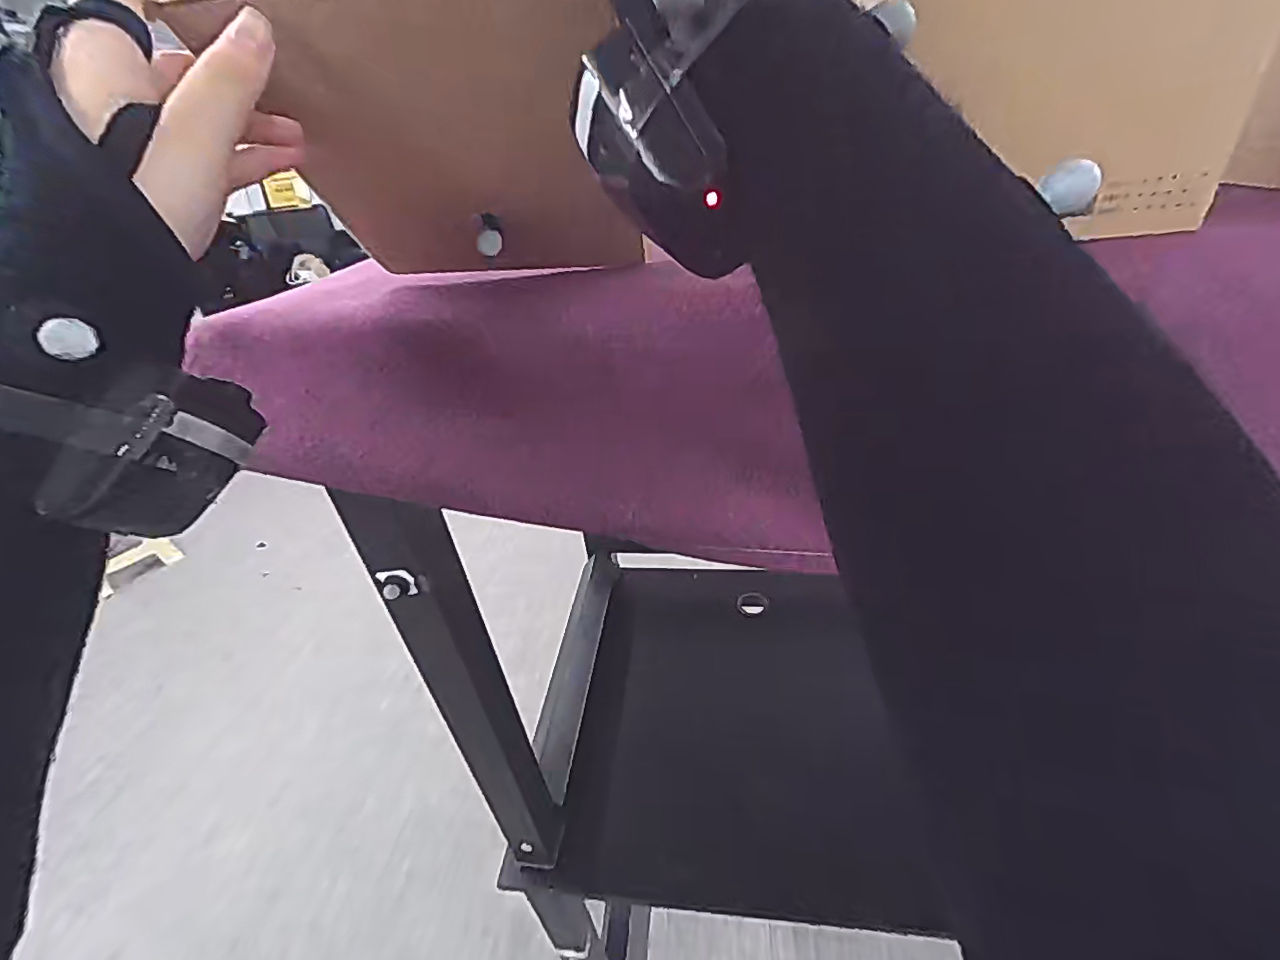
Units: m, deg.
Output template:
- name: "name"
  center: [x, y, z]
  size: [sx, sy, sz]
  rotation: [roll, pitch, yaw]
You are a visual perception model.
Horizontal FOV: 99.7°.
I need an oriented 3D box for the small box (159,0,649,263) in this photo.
- name: "small box"
  center: [-0.086, -0.235, 0.282]
  size: [0.179, 0.176, 0.168]
  rotation: [0, 74, 5]
